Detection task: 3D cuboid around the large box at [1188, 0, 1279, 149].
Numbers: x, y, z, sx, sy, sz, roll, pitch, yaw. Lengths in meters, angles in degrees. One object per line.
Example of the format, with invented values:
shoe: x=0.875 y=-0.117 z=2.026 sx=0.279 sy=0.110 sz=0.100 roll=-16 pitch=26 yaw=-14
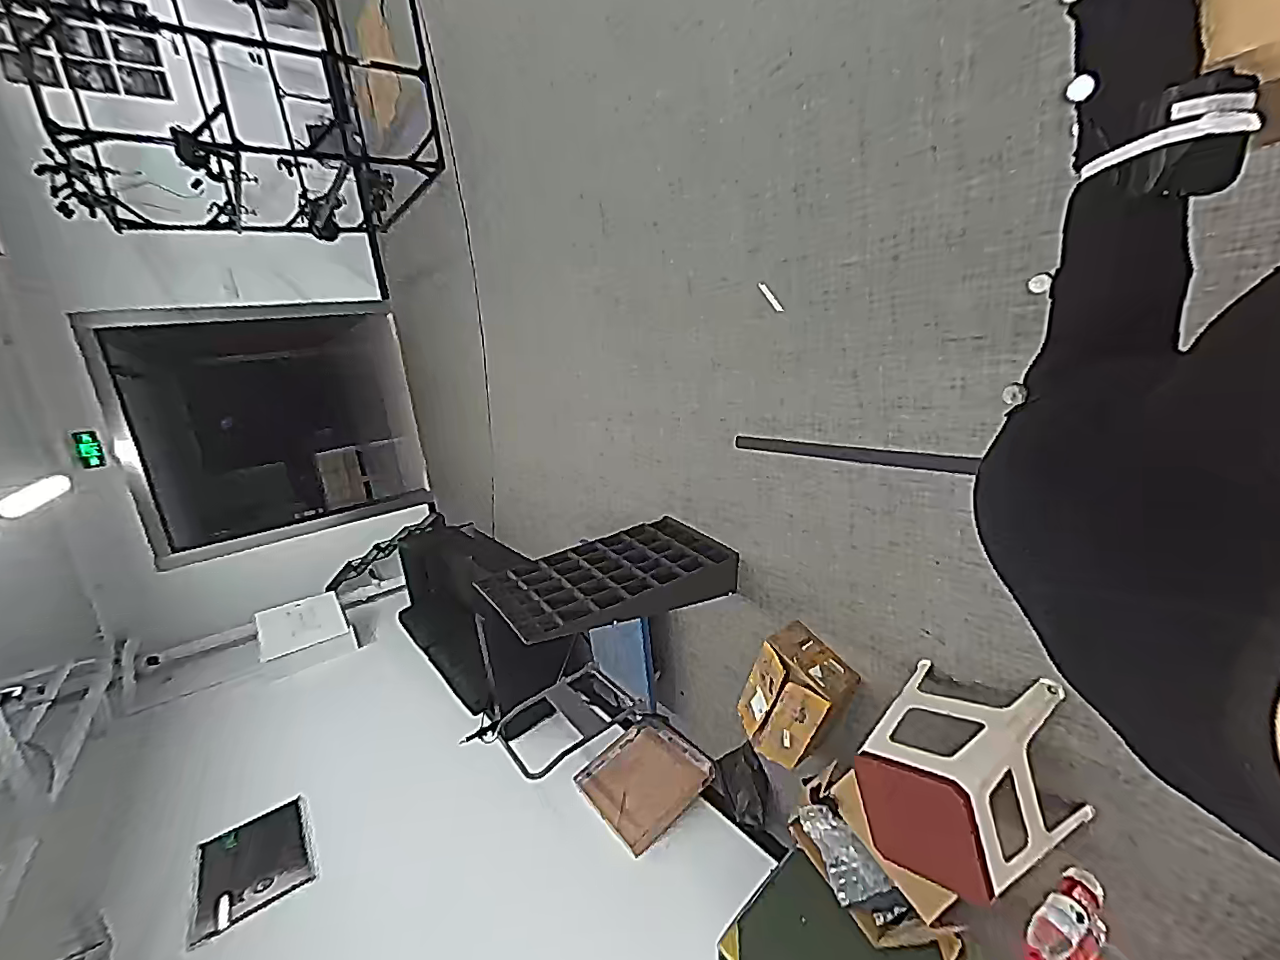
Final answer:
large box: x=0.598 y=-0.433 z=0.282 sx=0.408 sy=0.320 sz=0.320 roll=8 pitch=111 yaw=52
